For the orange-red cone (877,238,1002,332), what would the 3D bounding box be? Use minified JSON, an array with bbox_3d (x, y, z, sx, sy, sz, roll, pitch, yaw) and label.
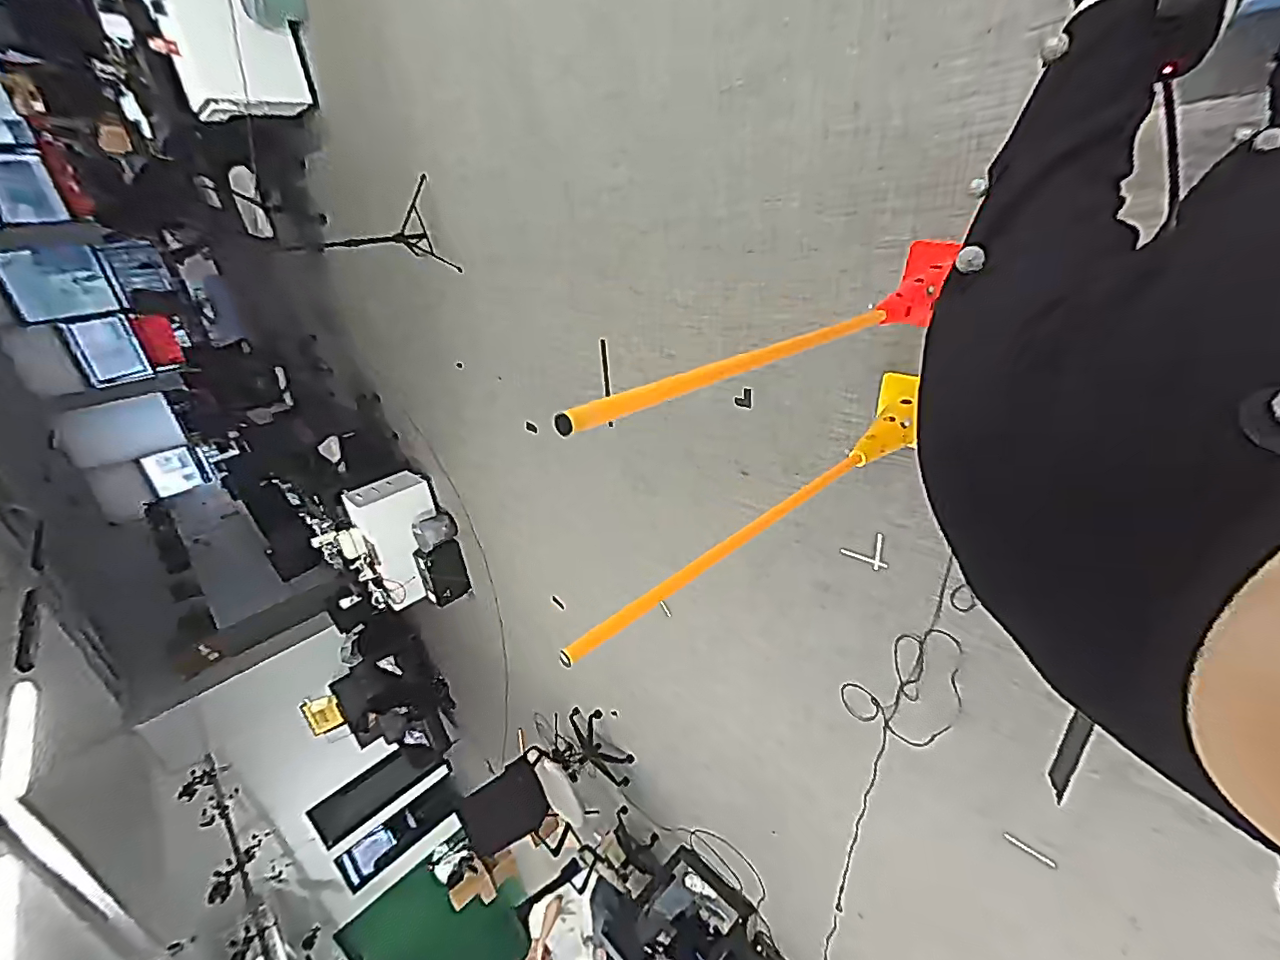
[{"bbox_3d":[0.619,-0.408,1.200,0.198,0.360,0.199,28,130,36],"label":"orange-red cone"}]
